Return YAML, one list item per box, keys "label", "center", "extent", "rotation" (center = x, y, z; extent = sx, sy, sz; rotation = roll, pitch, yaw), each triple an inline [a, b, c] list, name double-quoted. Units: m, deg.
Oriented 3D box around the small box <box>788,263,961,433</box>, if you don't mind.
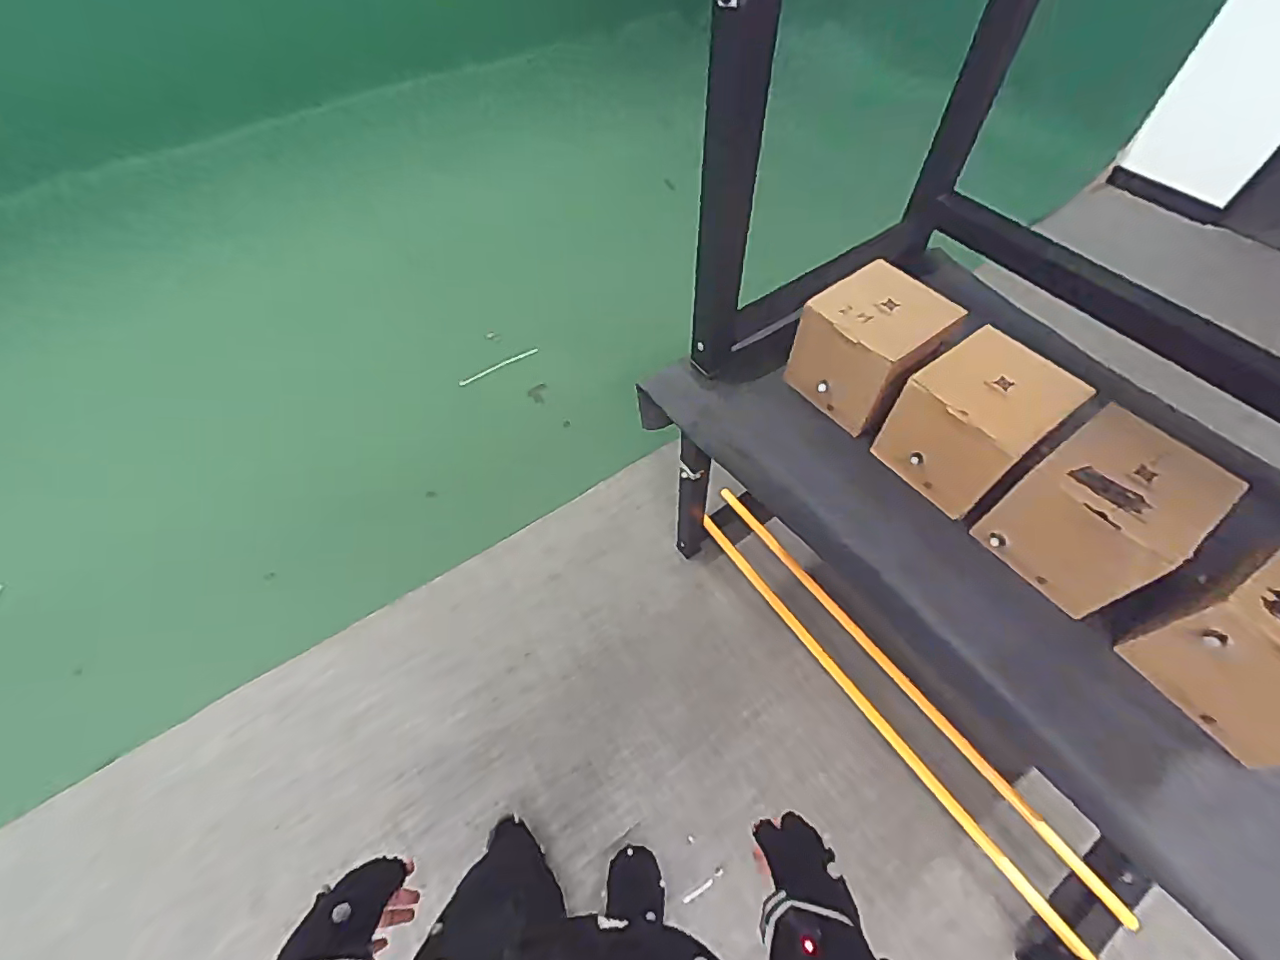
- label: "small box"
  center: [0.369, -0.213, 0.887]
  extent: [0.179, 0.176, 0.168]
  rotation: [-33, 61, -18]
